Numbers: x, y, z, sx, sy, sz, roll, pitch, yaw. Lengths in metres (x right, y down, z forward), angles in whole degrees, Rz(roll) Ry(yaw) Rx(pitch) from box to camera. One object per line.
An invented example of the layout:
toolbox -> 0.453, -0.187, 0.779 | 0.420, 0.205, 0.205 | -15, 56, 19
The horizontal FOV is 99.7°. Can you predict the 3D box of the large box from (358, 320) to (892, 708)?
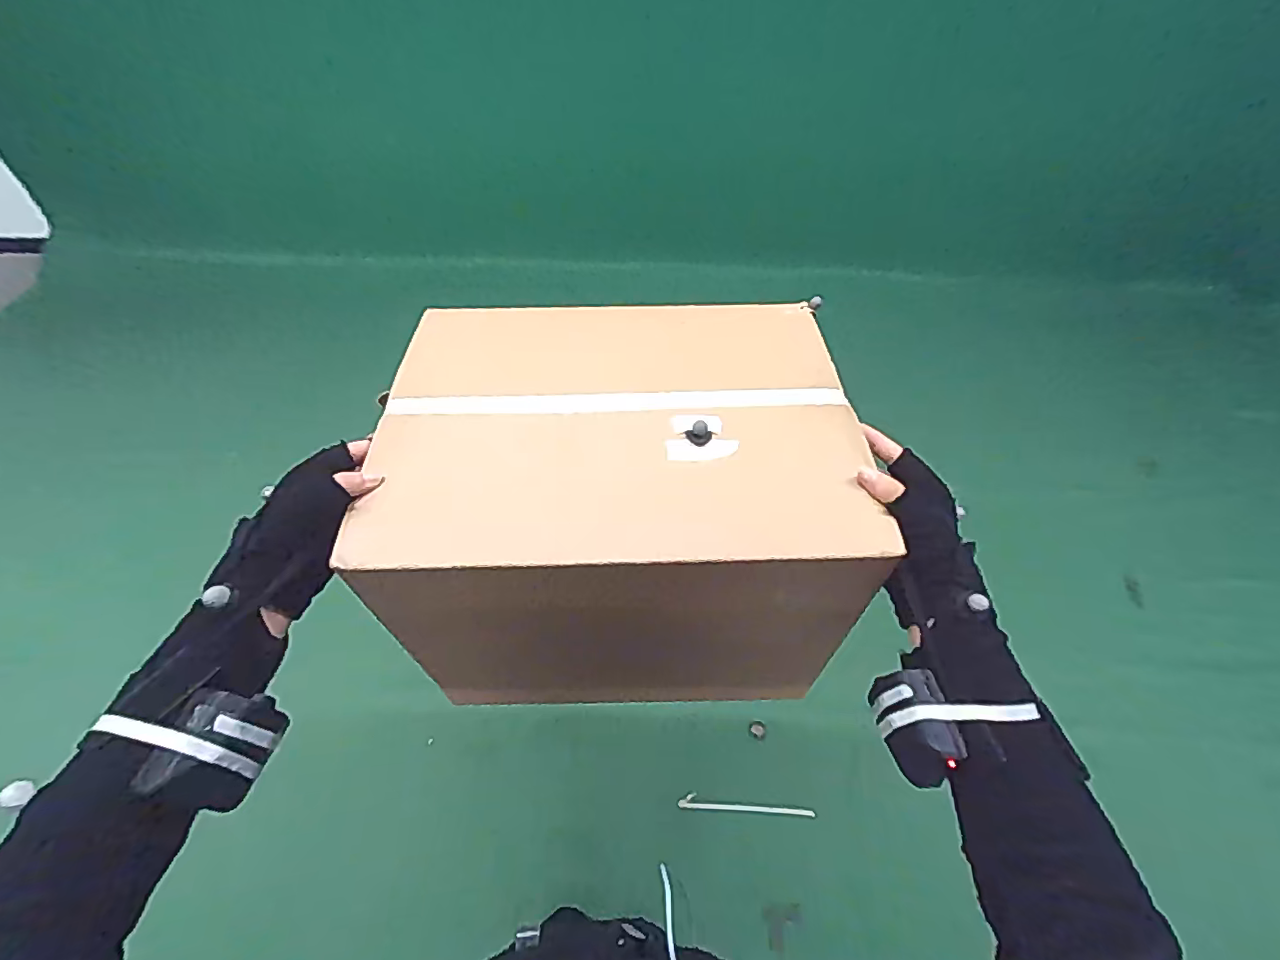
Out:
large box -> -0.017, 0.042, 0.603 | 0.408, 0.320, 0.320 | -1, 51, -2
